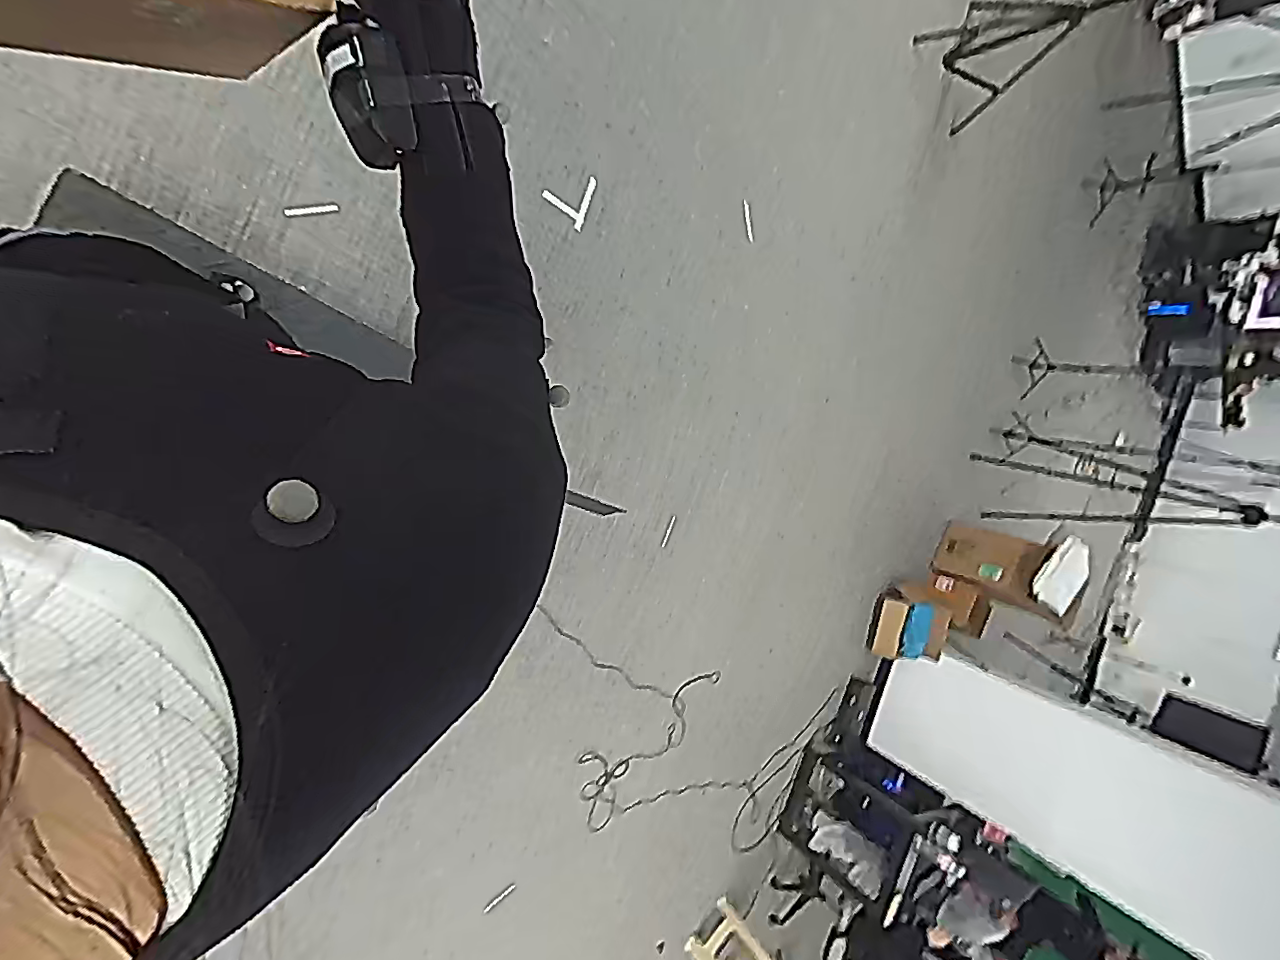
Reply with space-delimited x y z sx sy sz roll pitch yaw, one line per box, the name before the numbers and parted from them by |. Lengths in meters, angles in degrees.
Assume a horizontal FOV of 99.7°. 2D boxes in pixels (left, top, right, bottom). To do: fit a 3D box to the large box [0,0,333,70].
large box | -0.415 -0.402 0.220 0.408 0.320 0.320 -20 126 -37
